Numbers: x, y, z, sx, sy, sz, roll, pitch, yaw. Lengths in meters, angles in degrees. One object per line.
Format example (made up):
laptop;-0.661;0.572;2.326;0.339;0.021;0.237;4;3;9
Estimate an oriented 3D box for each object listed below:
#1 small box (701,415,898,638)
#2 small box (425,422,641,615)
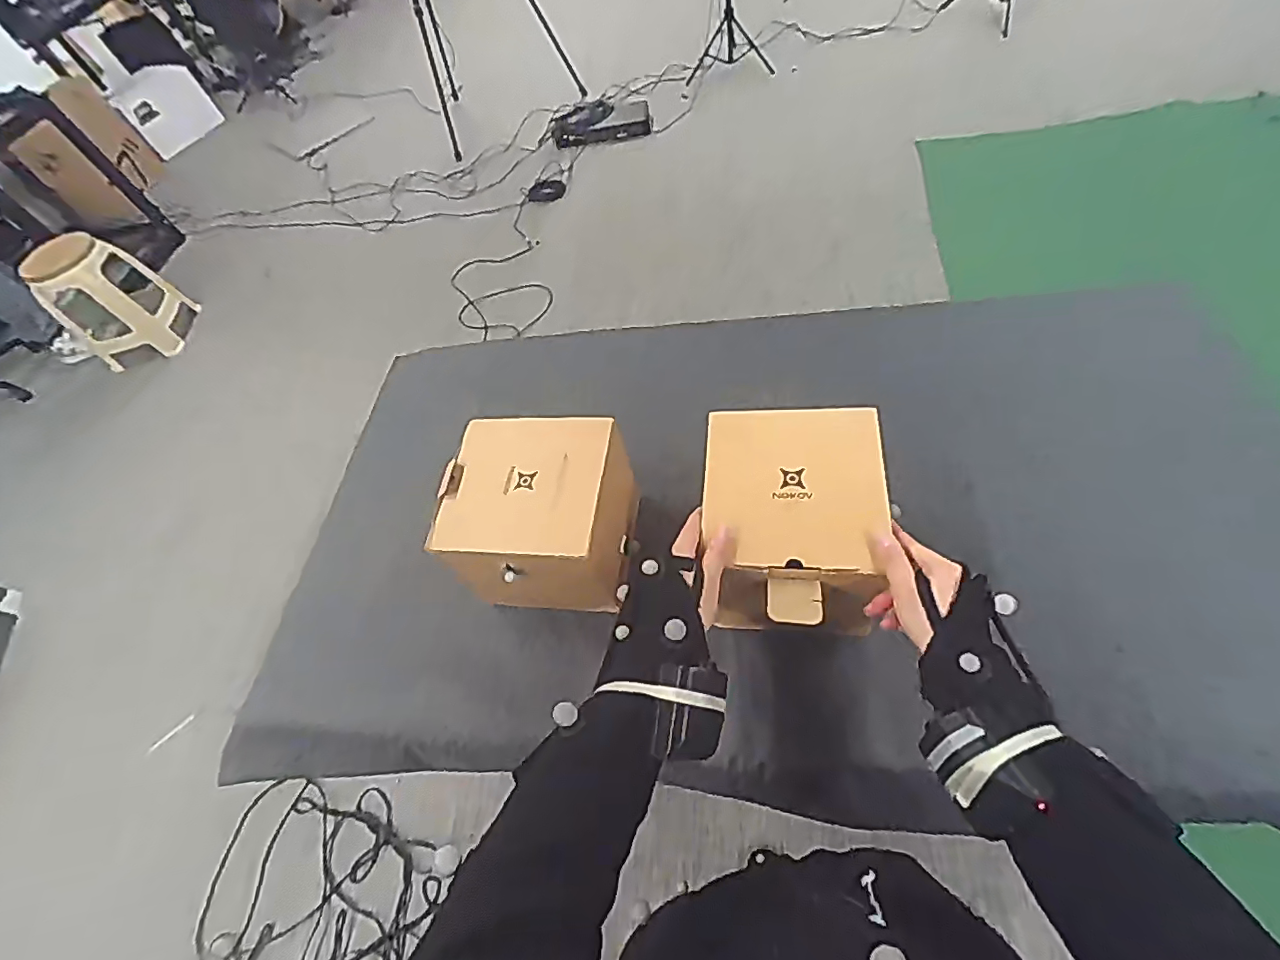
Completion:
small box;0.156;0.050;0.568;0.168;0.176;0.179;0;58;12
small box;-0.107;0.048;0.628;0.179;0.176;0.168;2;59;13
